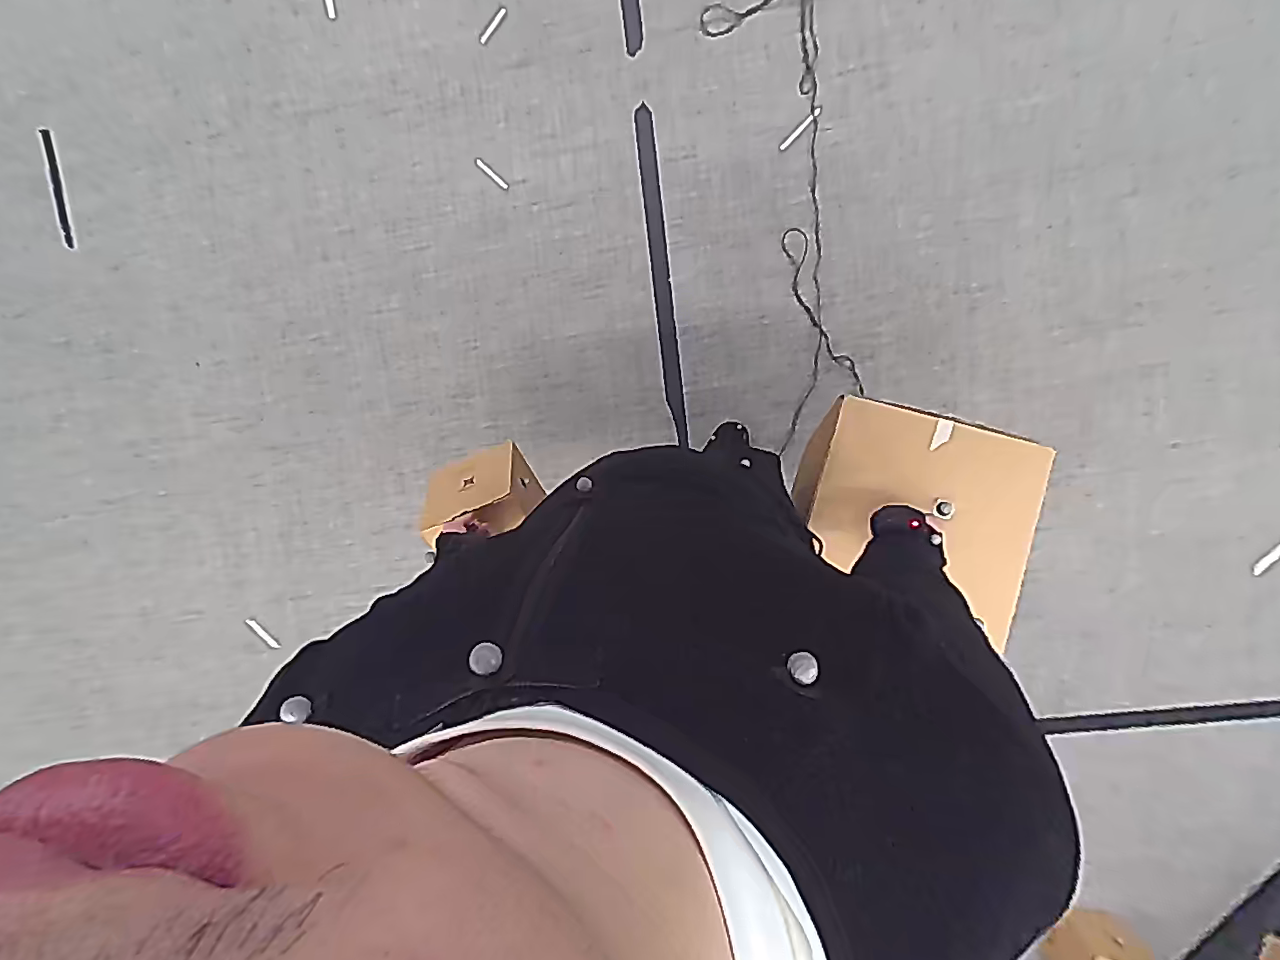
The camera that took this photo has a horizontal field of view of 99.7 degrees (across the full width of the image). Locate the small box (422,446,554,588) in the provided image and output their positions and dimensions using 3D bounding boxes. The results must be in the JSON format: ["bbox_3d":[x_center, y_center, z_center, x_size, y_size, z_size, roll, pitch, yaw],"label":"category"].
[{"bbox_3d":[-0.266,0.073,0.986,0.168,0.179,0.176,-22,124,4],"label":"small box"}]
